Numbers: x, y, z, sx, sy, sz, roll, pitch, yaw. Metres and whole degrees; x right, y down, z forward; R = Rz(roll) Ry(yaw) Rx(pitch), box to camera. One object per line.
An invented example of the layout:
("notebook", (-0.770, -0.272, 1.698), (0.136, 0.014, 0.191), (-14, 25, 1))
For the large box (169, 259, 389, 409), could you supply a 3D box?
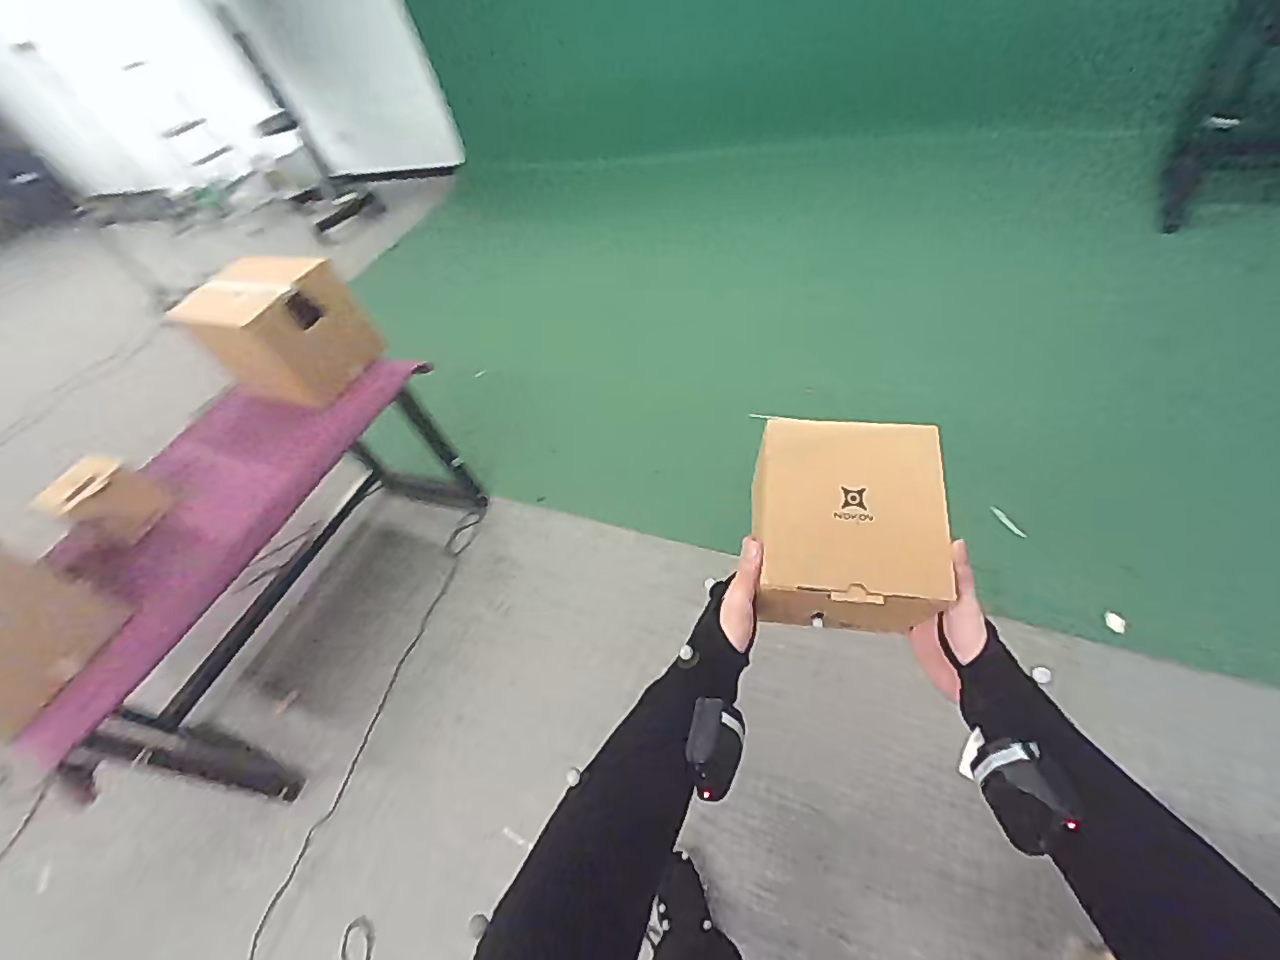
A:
("large box", (-1.079, -0.449, 1.652), (0.408, 0.320, 0.320), (12, 57, 24))
